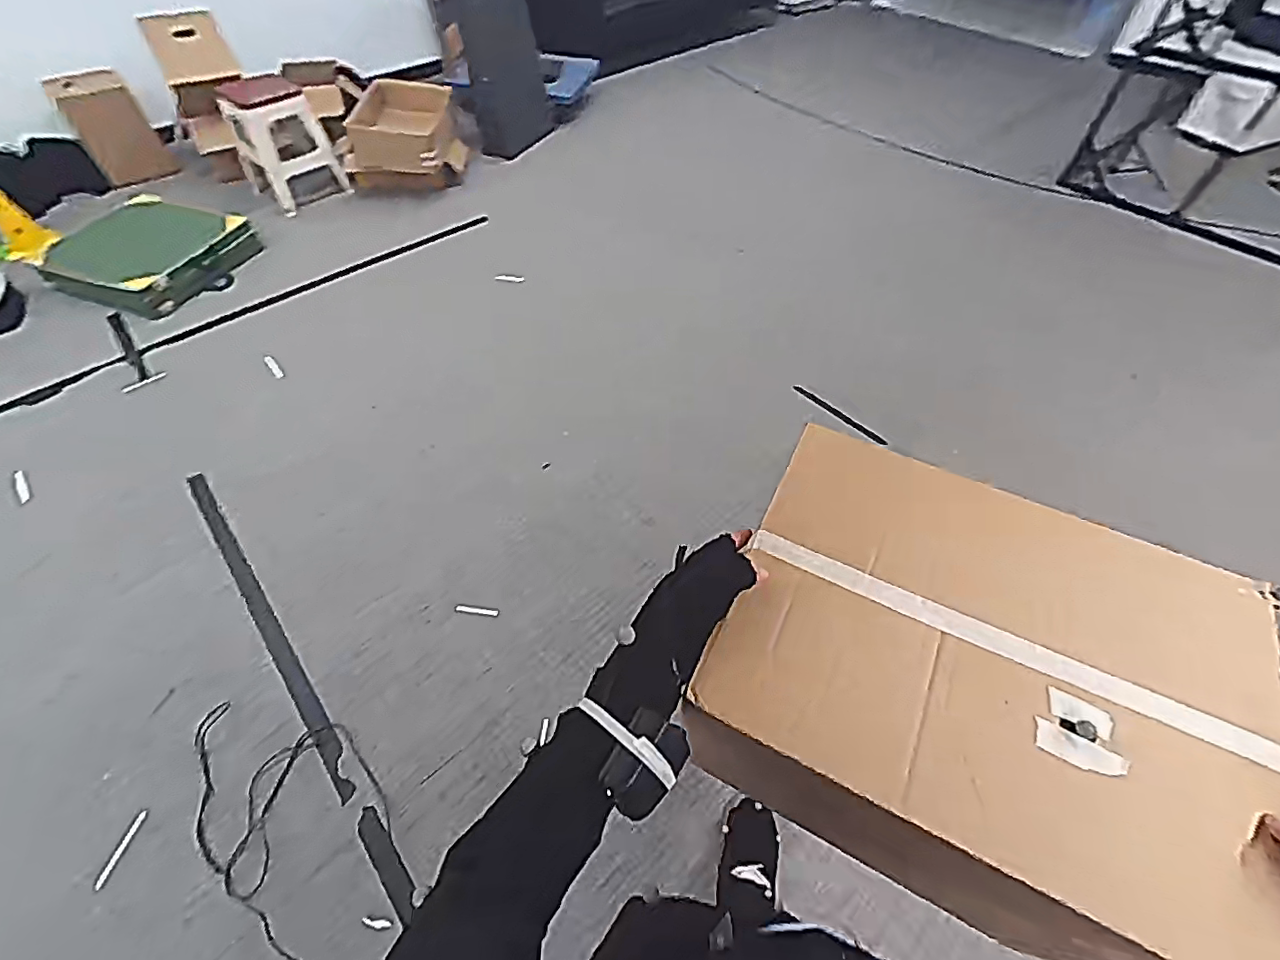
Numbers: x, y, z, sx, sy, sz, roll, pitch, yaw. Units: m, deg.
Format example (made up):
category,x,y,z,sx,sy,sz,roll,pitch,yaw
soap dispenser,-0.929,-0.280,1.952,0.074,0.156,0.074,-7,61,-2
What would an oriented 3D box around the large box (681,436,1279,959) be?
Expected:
category,x,y,z,sx,sy,sz,roll,pitch,yaw
large box,0.289,0.217,0.578,0.408,0.320,0.320,23,61,16
